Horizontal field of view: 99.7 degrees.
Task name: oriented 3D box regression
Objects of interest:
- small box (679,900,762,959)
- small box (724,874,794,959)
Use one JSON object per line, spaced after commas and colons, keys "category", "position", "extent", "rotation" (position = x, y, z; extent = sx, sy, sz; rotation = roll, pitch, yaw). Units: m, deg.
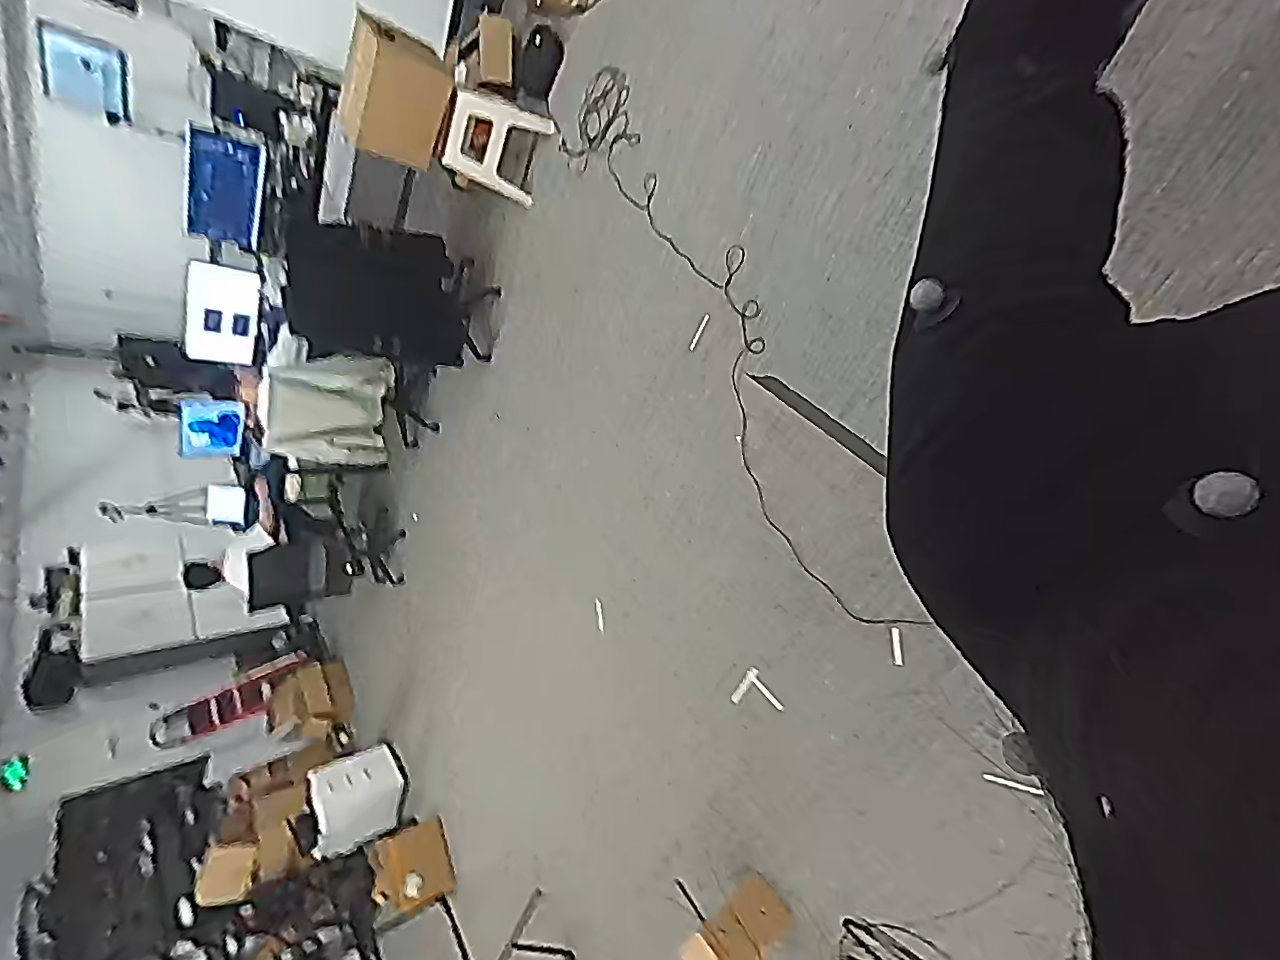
{"category": "small box", "position": [0.261, 1.503, 1.726], "extent": [0.168, 0.176, 0.179], "rotation": [42, 122, 37]}
{"category": "small box", "position": [0.384, 1.486, 1.832], "extent": [0.179, 0.176, 0.168], "rotation": [37, 118, 37]}
